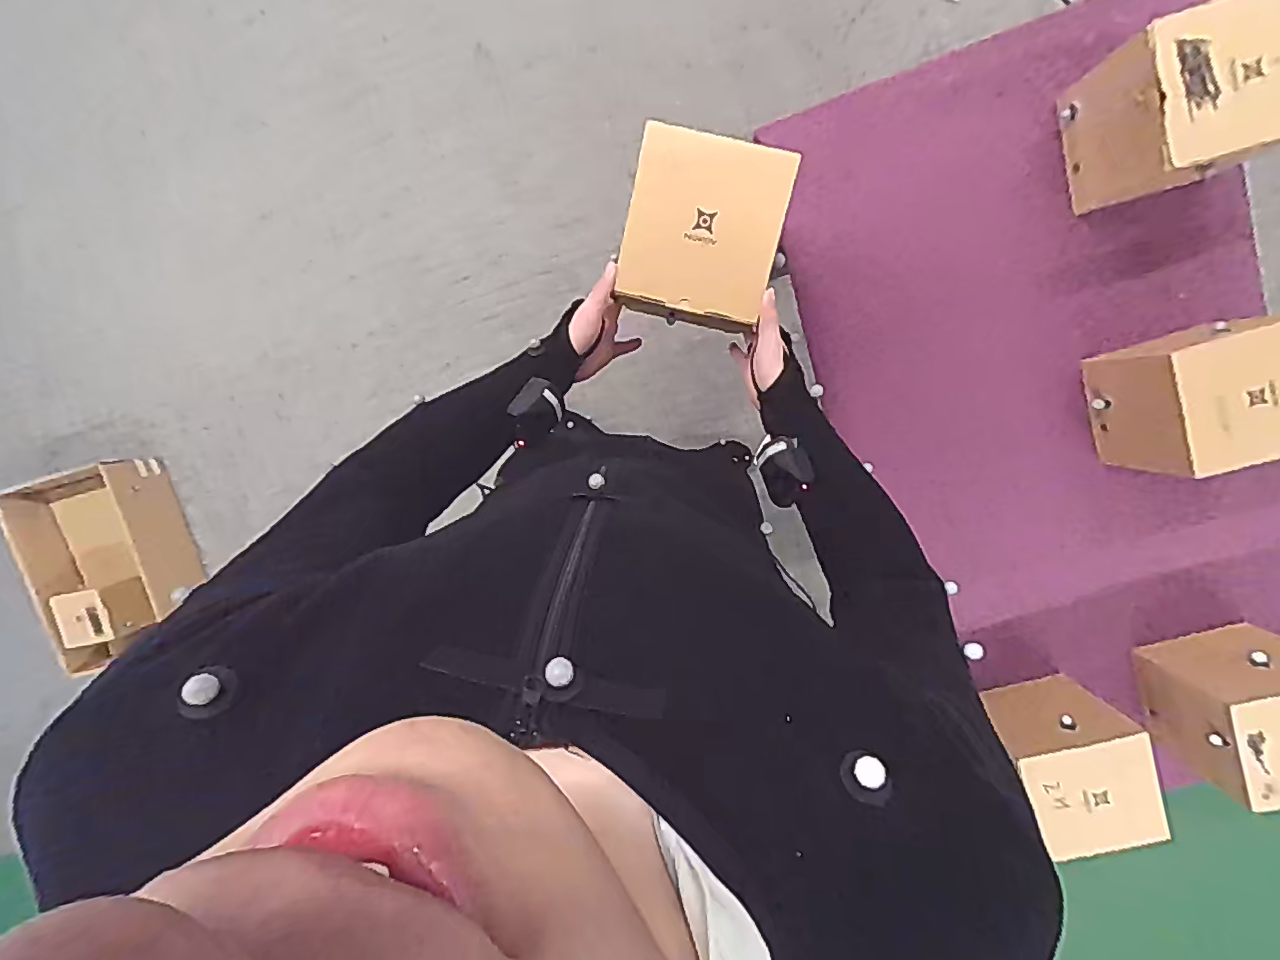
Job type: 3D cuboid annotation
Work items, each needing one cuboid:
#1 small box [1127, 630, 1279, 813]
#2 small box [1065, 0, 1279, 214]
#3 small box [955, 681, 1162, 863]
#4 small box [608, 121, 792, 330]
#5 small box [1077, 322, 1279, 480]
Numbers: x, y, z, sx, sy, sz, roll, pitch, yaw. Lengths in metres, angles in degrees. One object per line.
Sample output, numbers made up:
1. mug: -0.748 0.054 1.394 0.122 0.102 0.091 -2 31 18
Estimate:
1. small box: 0.886 0.342 0.796 0.179 0.176 0.168 -17 96 7
2. small box: 0.687 -0.468 0.692 0.179 0.176 0.168 -14 98 8
3. small box: 0.625 0.432 0.827 0.179 0.176 0.168 -15 95 6
4. small box: 0.064 -0.289 0.653 0.168 0.176 0.179 13 104 0
5. small box: 0.760 -0.110 0.743 0.179 0.176 0.168 -16 96 7
